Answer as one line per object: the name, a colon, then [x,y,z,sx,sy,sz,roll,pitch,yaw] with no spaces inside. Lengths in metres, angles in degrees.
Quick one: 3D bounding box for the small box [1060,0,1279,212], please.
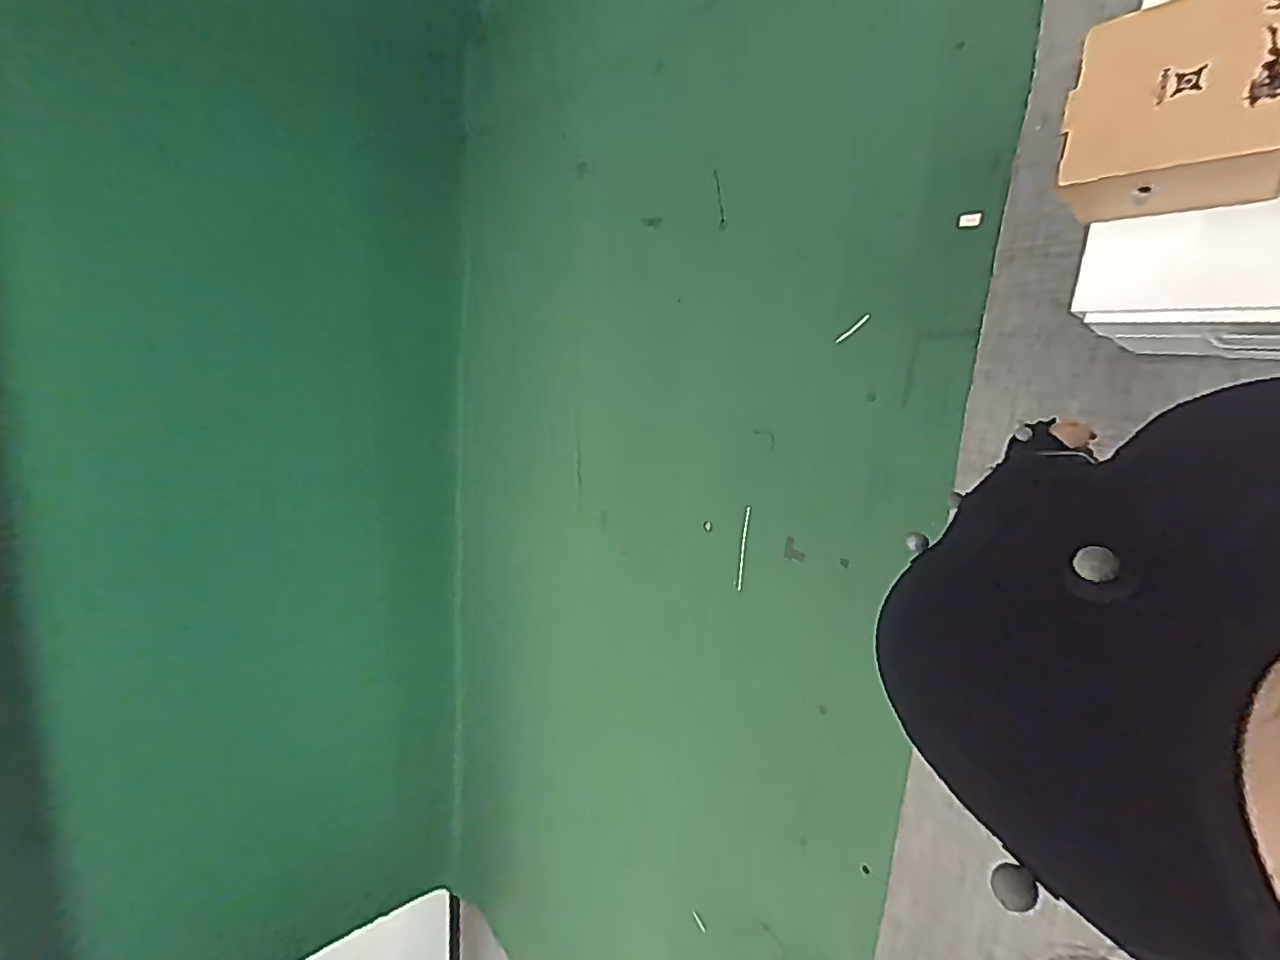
small box: [0.607,-0.415,0.599,0.179,0.176,0.168,15,105,47]
